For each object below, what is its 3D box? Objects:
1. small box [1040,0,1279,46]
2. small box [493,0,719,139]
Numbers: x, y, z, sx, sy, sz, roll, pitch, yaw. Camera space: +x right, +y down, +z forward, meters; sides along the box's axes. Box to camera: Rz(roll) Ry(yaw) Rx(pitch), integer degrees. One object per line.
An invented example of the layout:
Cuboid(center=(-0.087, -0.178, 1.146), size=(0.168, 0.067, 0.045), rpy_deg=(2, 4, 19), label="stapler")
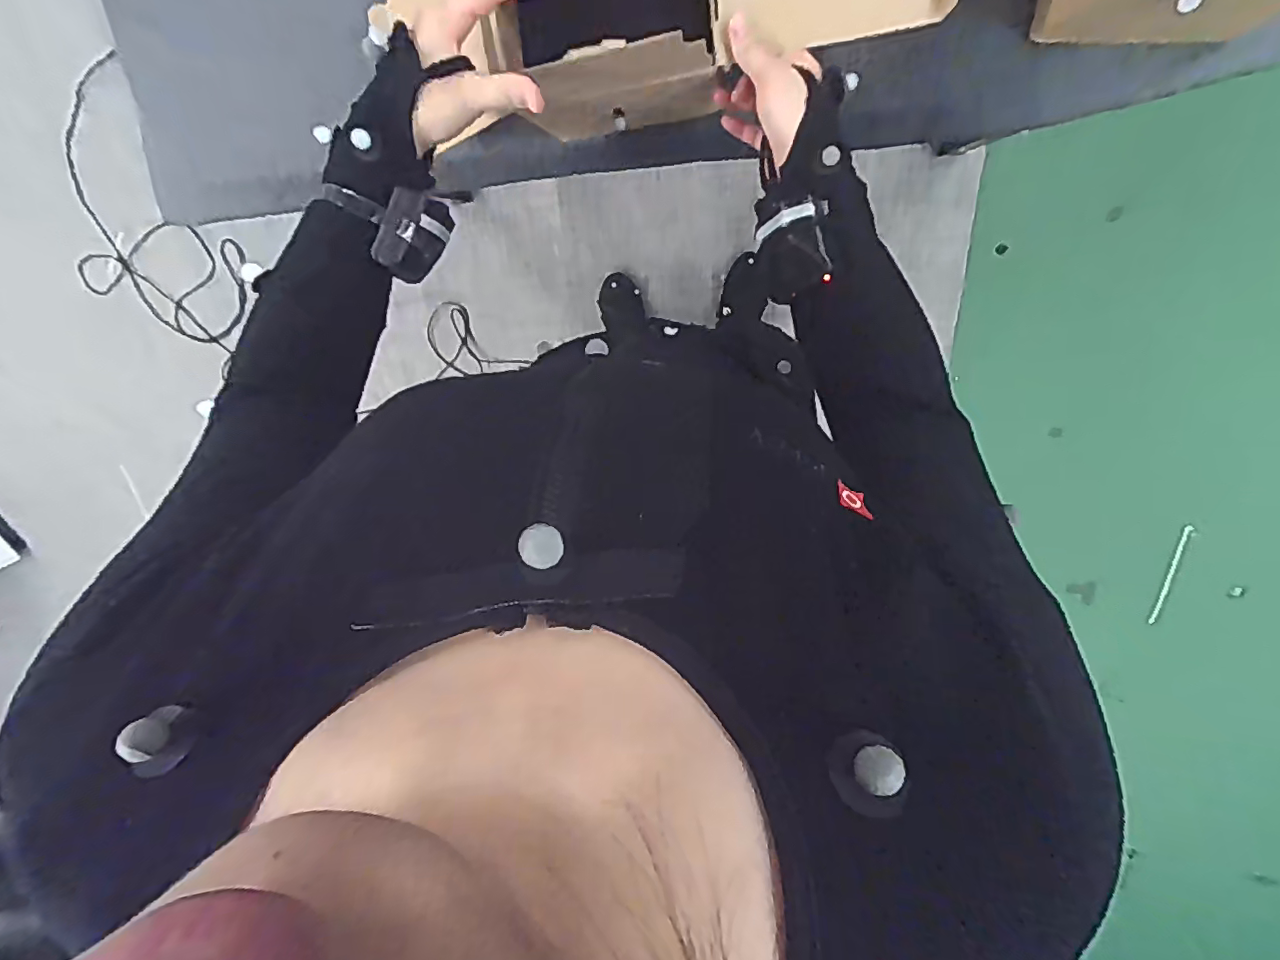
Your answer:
Cuboid(center=(0.448, -0.453, 0.402), size=(0.179, 0.176, 0.168), rpy_deg=(5, 111, 7), label="small box")
Cuboid(center=(-0.021, -0.424, 0.486), size=(0.179, 0.176, 0.168), rpy_deg=(-3, 114, 12), label="small box")
